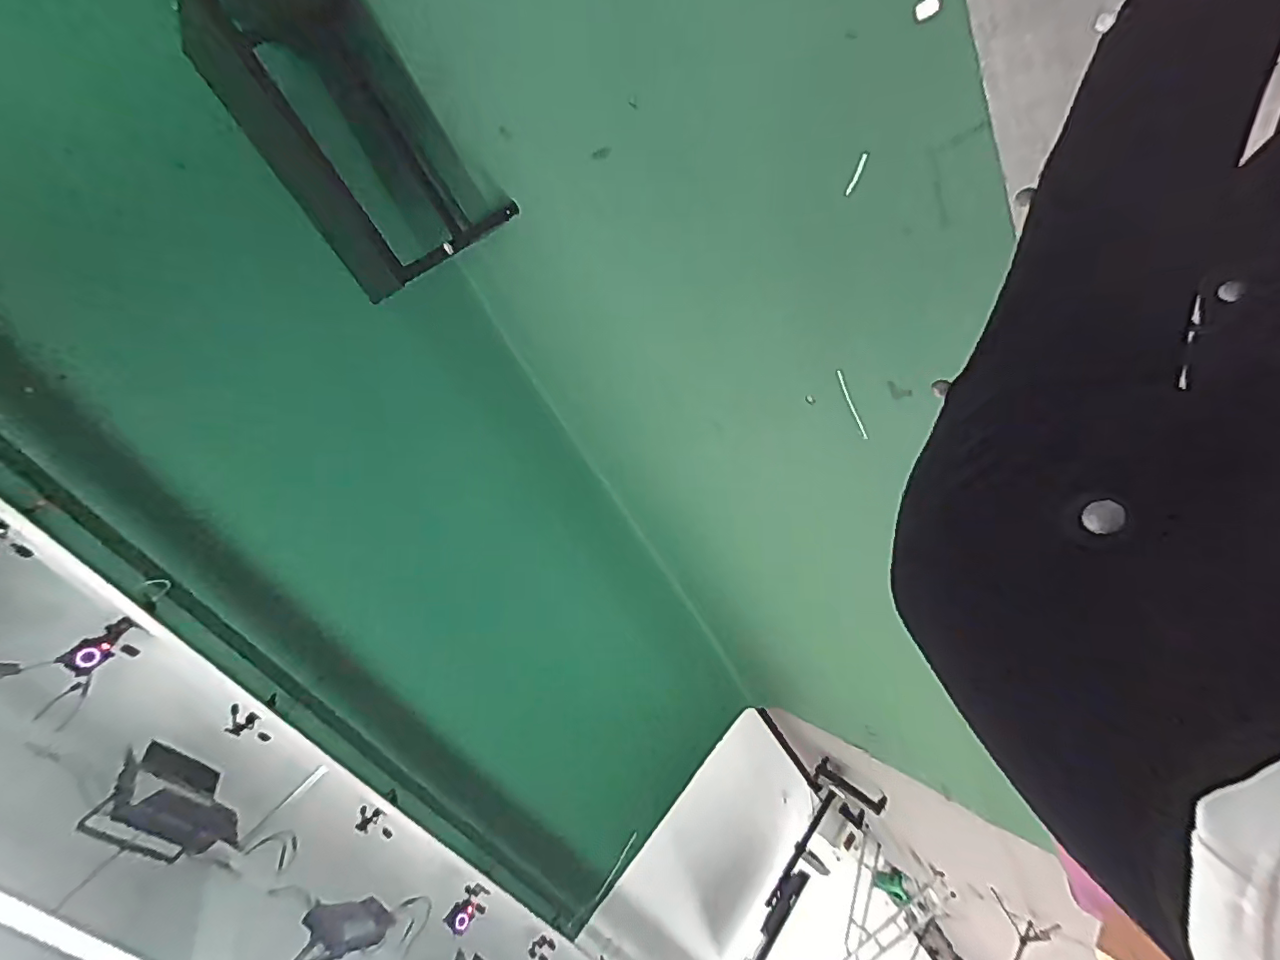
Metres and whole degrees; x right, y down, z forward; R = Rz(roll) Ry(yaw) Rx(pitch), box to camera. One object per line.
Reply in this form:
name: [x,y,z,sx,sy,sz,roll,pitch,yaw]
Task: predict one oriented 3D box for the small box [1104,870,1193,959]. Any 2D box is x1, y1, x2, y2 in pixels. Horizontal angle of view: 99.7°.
small box: [1.553,1.349,1.648,0.168,0.176,0.179,6,137,54]
